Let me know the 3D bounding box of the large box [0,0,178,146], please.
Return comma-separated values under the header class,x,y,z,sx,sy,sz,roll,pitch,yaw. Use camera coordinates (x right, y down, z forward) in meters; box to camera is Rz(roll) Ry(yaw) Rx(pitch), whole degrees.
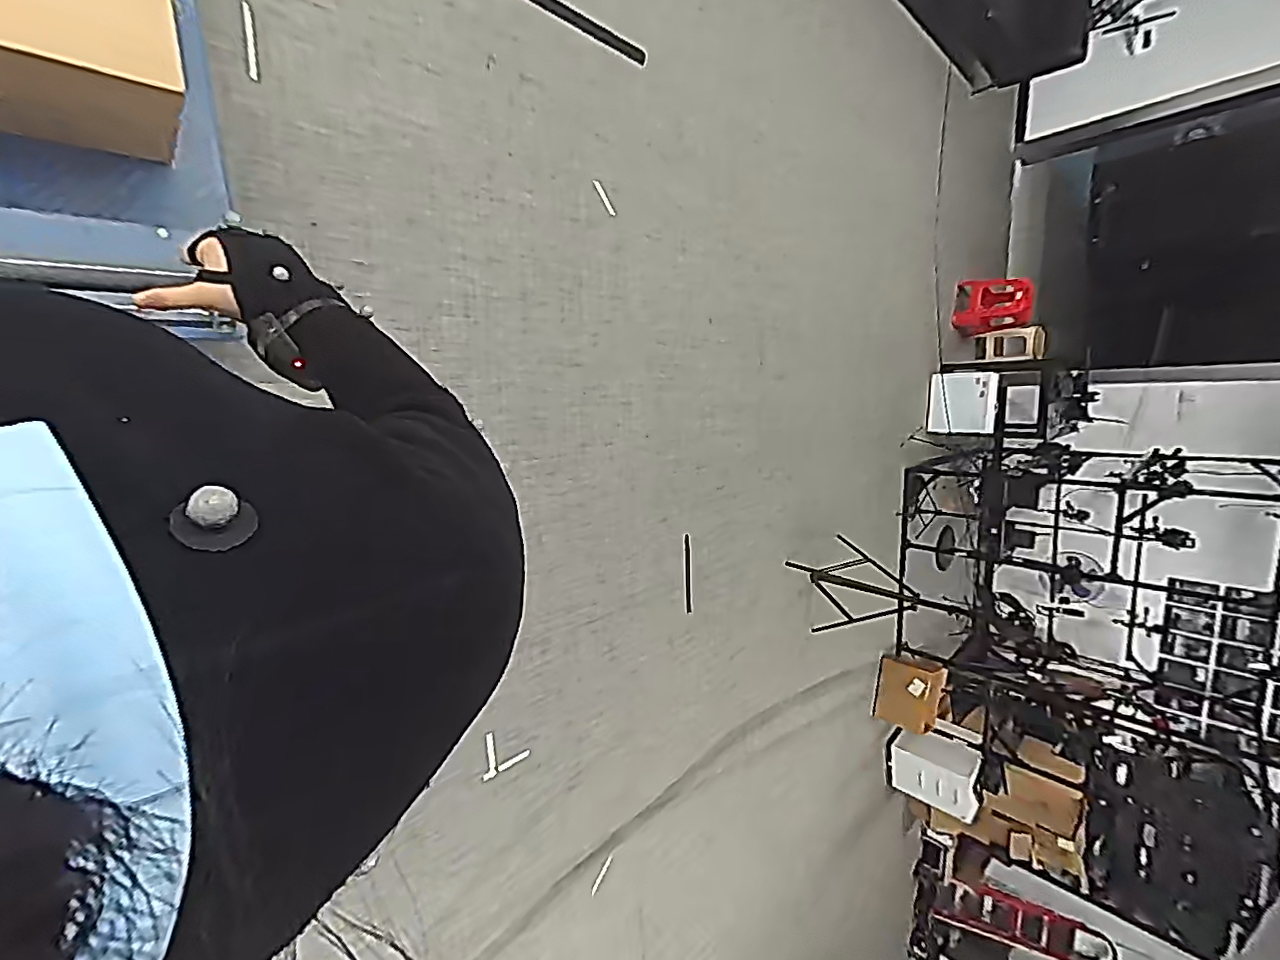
class,x,y,z,sx,sy,sz,roll,pitch,yaw
large box,-0.912,-0.703,0.720,0.408,0.320,0.320,-11,103,-42
